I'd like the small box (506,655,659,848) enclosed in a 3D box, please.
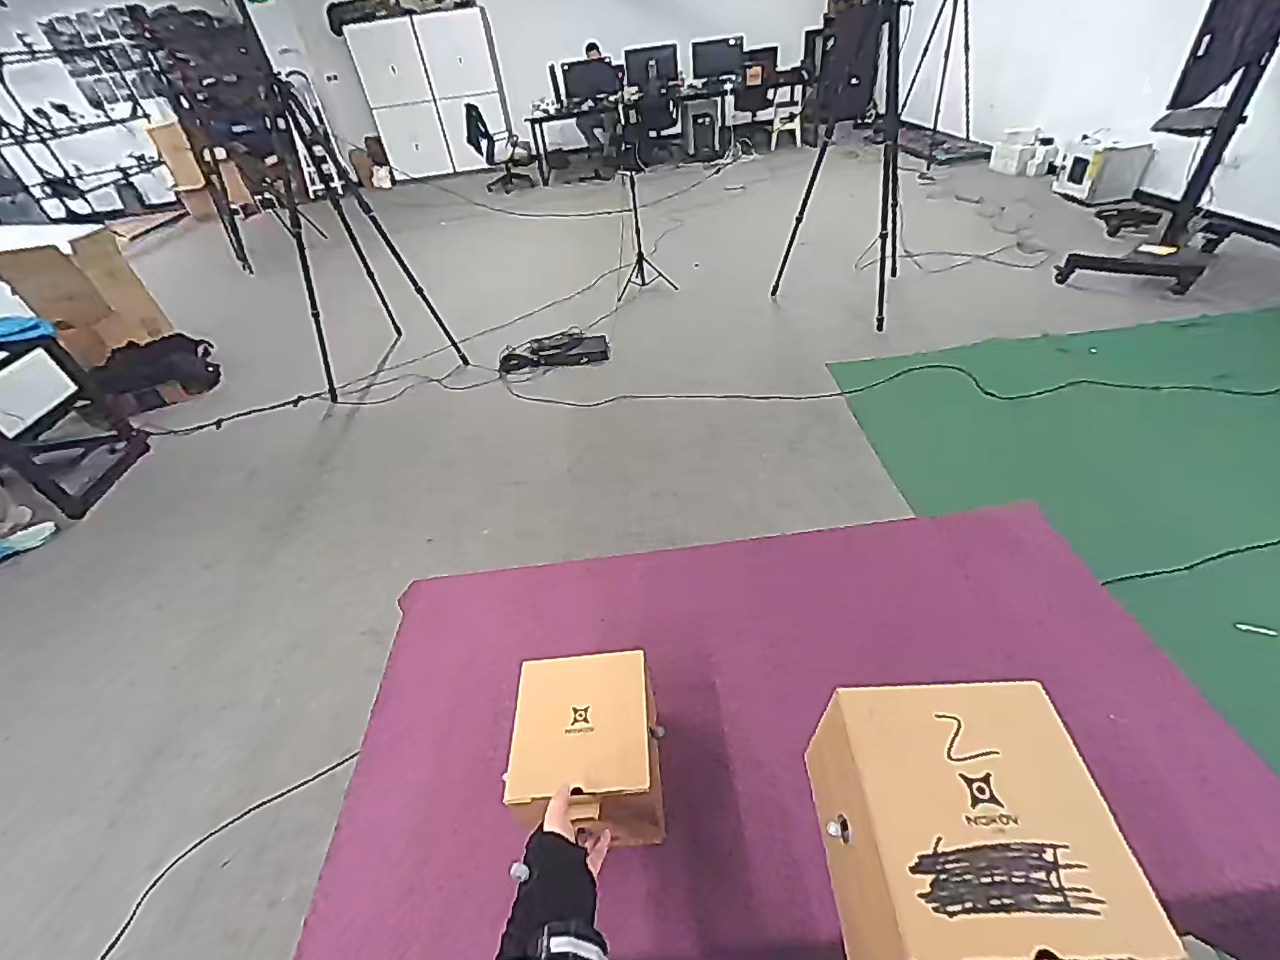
[{"bbox_3d":[-0.066,0.361,0.722,0.168,0.176,0.179,-6,40,2],"label":"small box"}]
